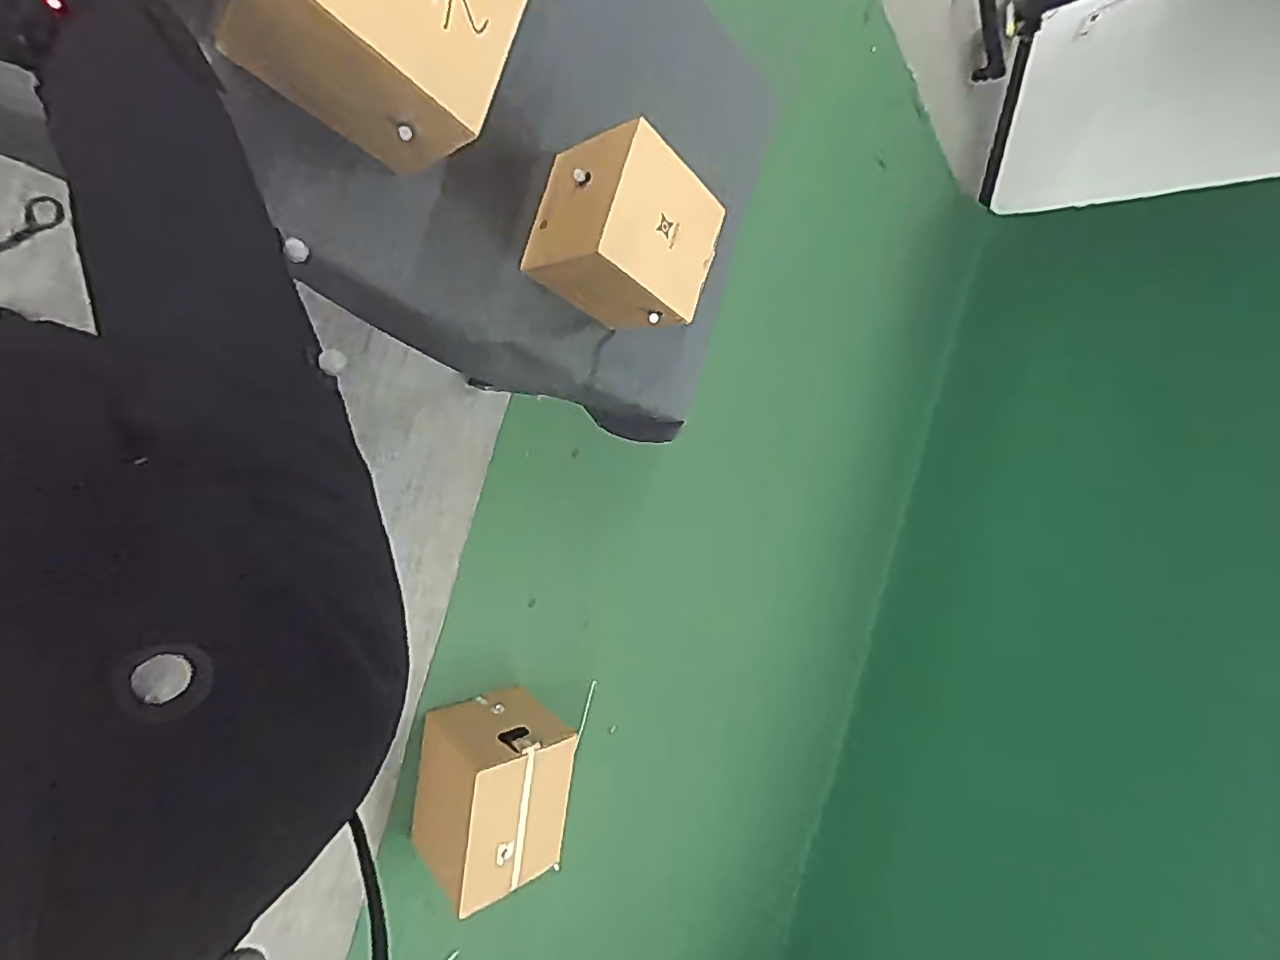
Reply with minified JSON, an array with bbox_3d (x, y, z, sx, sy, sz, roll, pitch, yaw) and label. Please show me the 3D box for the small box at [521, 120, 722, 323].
[{"bbox_3d":[-0.027,-0.315,0.707,0.179,0.176,0.168,21,85,-46],"label":"small box"}]
